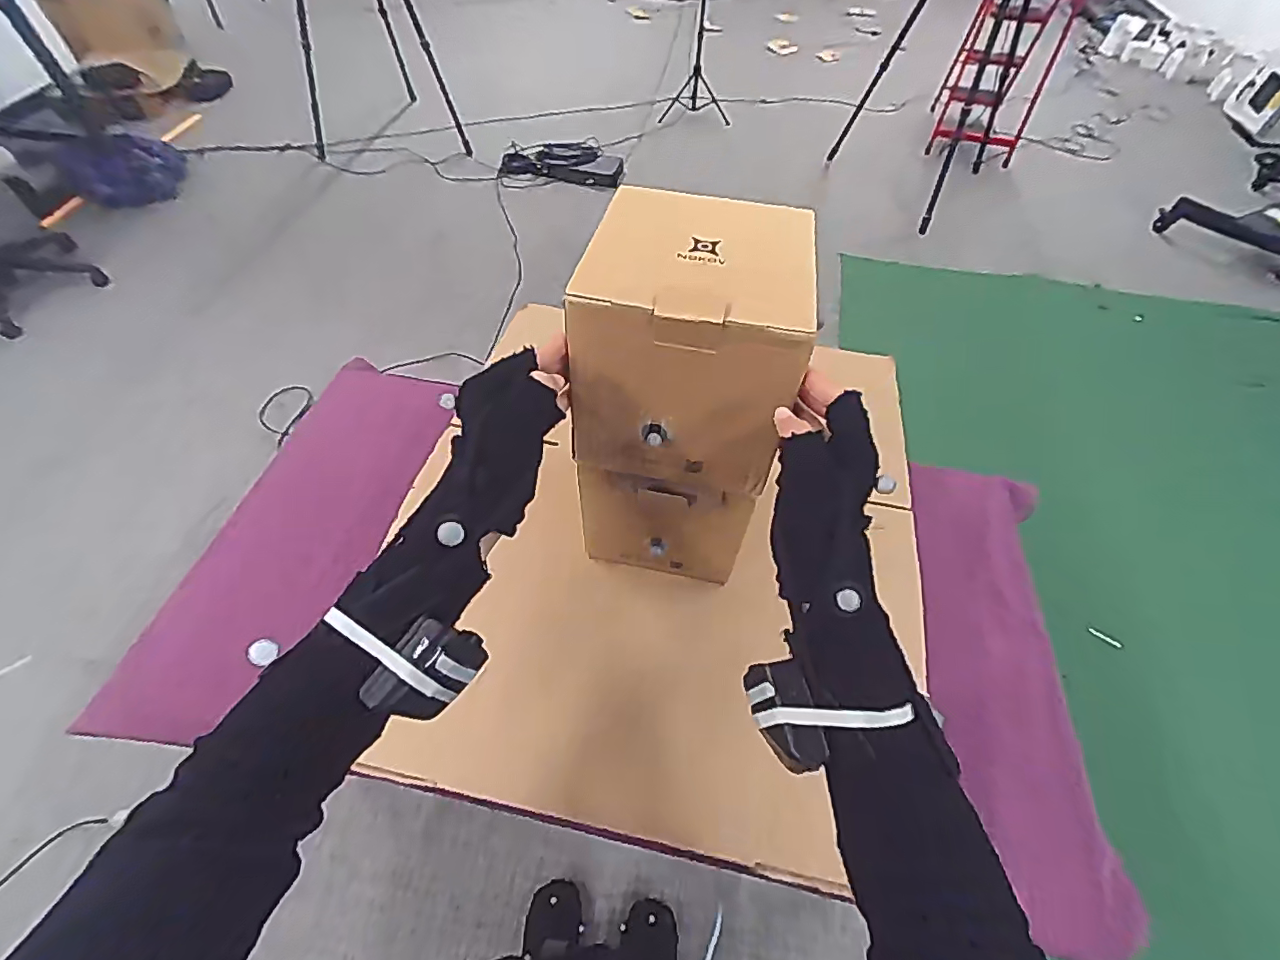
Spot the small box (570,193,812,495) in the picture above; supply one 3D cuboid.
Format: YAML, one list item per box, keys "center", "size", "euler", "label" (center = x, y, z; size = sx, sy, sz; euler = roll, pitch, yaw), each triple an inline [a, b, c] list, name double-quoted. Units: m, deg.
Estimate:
- center: [0.042, -0.115, 0.468]
  size: [0.168, 0.176, 0.179]
  euler: [10, 52, 5]
  label: "small box"

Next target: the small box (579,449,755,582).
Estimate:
- center: [0.037, -0.014, 0.600]
  size: [0.168, 0.176, 0.179]
  euler: [10, 53, 6]
  label: "small box"
